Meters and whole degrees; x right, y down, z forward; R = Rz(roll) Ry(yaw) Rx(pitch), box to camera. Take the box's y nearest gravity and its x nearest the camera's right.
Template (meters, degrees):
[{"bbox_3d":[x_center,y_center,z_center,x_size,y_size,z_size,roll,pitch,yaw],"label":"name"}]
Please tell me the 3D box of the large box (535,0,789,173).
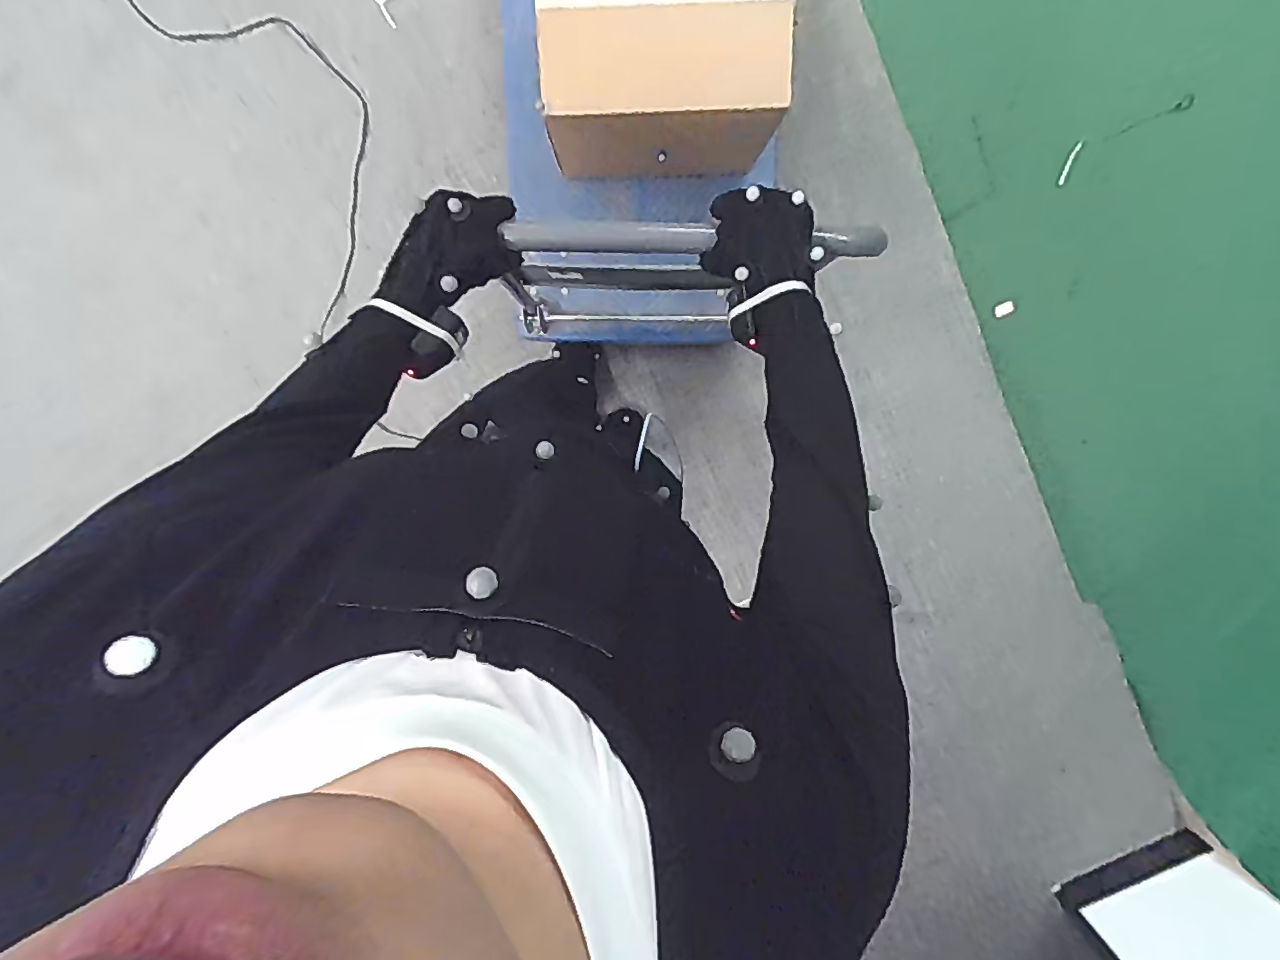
[{"bbox_3d":[0.033,-0.785,0.989,0.408,0.320,0.320,-3,102,-1],"label":"large box"}]
